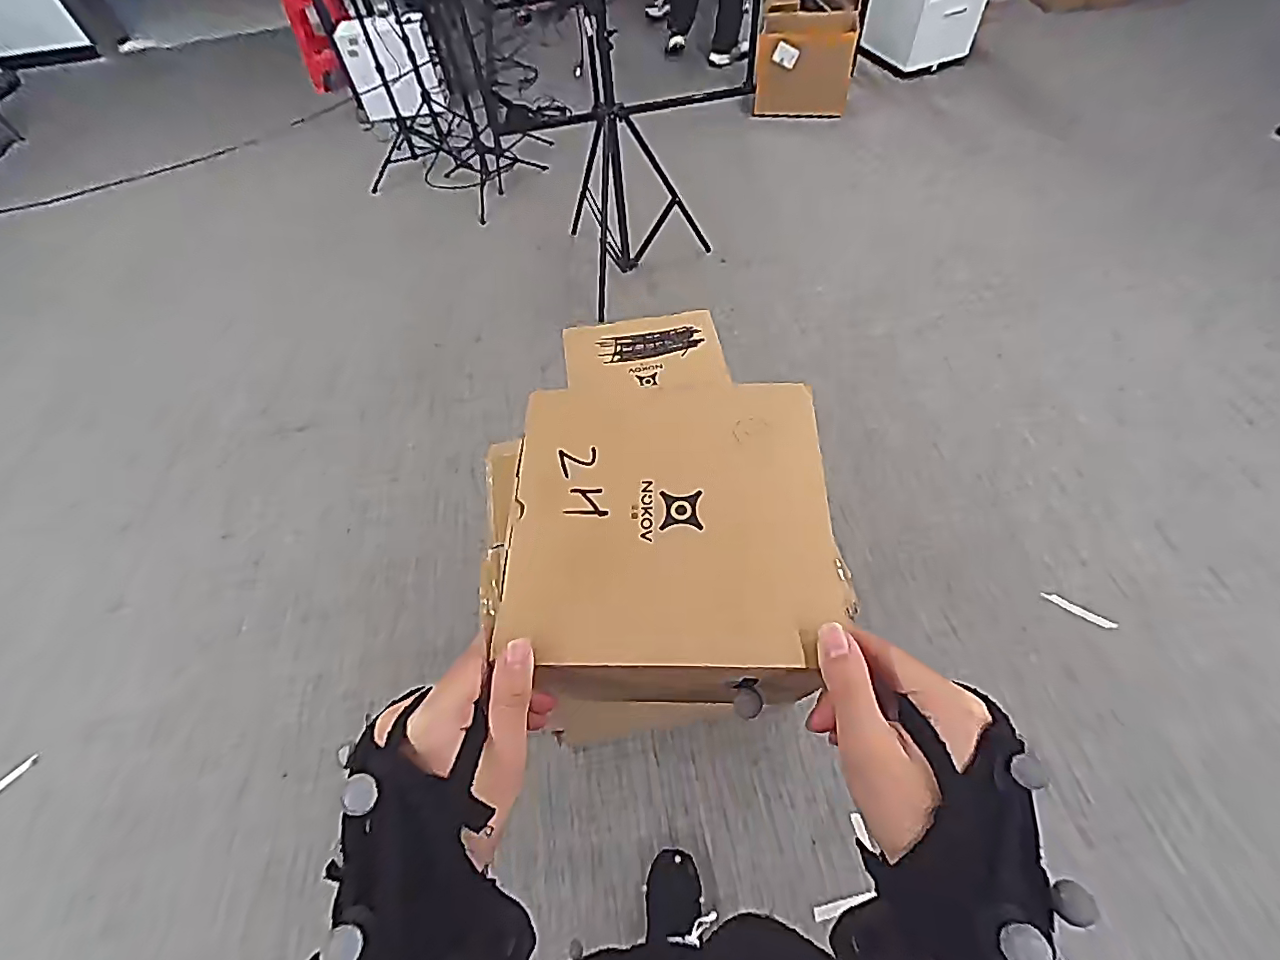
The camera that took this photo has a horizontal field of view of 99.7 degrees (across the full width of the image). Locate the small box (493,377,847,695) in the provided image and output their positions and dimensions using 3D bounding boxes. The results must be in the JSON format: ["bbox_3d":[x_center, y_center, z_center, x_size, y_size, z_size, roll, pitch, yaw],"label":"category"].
[{"bbox_3d":[0.021,0.048,0.369,0.179,0.176,0.168,-1,62,5],"label":"small box"}]
